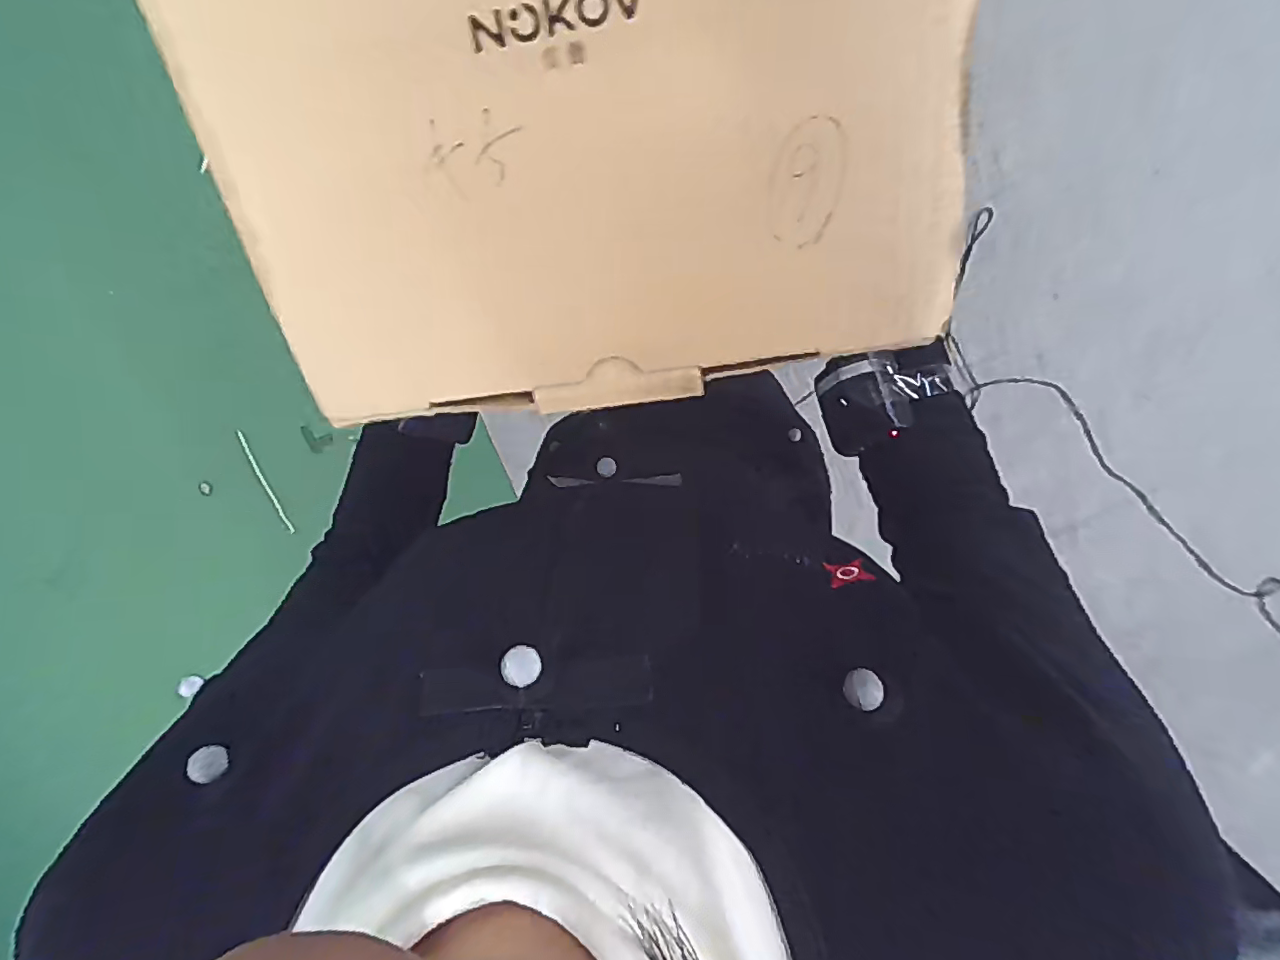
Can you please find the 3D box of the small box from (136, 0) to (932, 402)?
[{"bbox_3d":[-0.020,-0.143,0.179,0.168,0.176,0.179,-7,116,7],"label":"small box"}]
